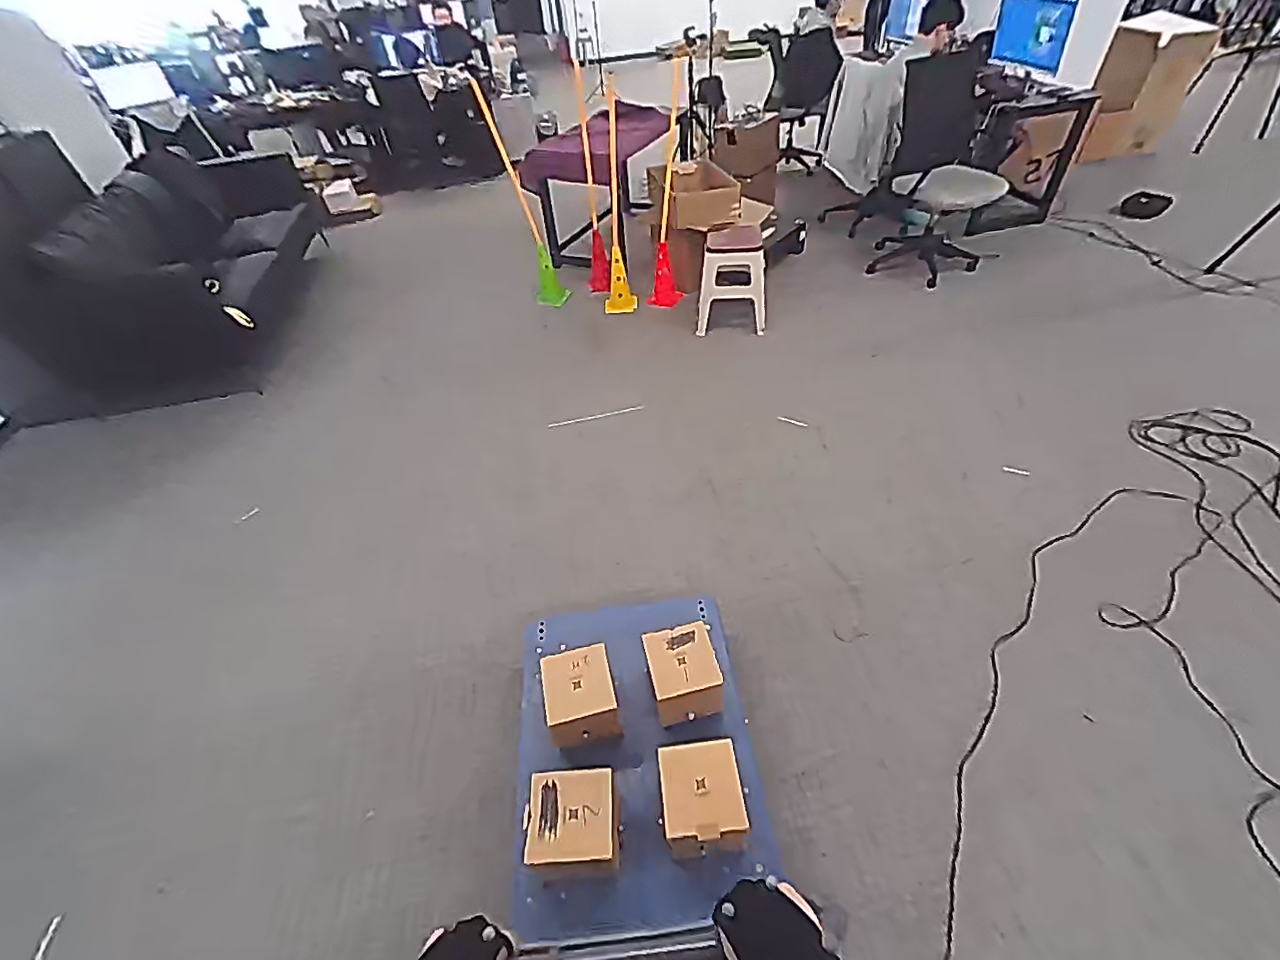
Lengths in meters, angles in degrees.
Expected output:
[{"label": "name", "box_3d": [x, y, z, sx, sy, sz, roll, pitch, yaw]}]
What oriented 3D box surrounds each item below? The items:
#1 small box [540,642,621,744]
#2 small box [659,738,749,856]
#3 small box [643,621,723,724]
[{"label": "small box", "box_3d": [-0.147, 0.542, 1.359, 0.168, 0.176, 0.179, -12, 45, -7]}, {"label": "small box", "box_3d": [0.132, 0.692, 1.180, 0.168, 0.176, 0.179, -7, 45, -1]}, {"label": "small box", "box_3d": [0.106, 0.493, 1.383, 0.168, 0.176, 0.179, -12, 46, -5]}]
